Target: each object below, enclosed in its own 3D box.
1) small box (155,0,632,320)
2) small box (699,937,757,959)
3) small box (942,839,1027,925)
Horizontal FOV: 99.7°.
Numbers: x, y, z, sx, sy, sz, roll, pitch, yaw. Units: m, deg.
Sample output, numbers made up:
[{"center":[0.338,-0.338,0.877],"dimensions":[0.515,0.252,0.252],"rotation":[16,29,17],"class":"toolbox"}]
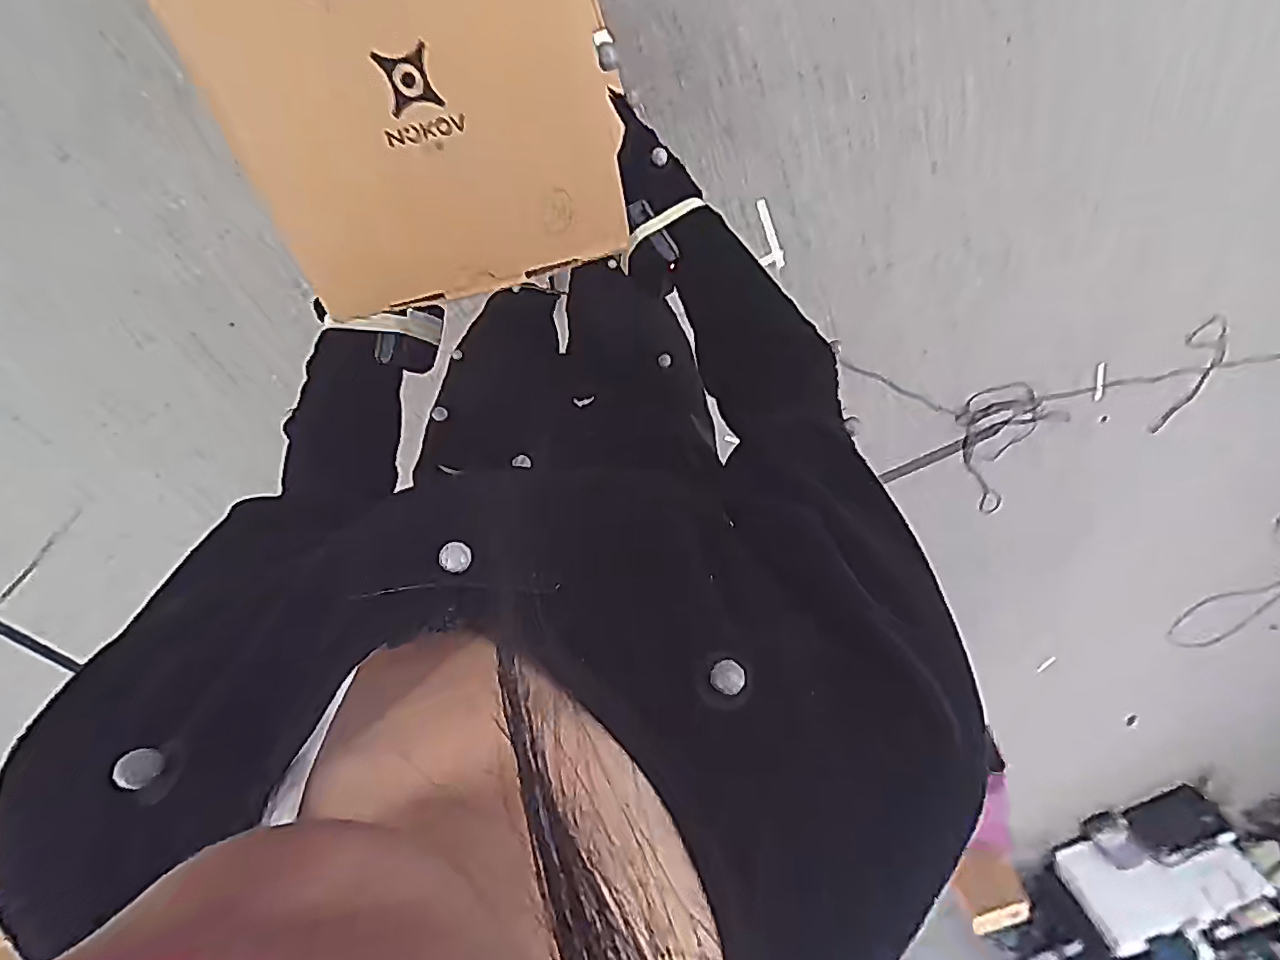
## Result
[{"center":[-0.110,-0.216,0.294],"dimensions":[0.168,0.176,0.179],"rotation":[-15,129,-2],"class":"small box"},{"center":[0.331,1.757,1.908],"dimensions":[0.179,0.176,0.168],"rotation":[-25,124,5],"class":"small box"},{"center":[1.150,1.342,1.811],"dimensions":[0.179,0.176,0.168],"rotation":[-23,123,5],"class":"small box"}]
